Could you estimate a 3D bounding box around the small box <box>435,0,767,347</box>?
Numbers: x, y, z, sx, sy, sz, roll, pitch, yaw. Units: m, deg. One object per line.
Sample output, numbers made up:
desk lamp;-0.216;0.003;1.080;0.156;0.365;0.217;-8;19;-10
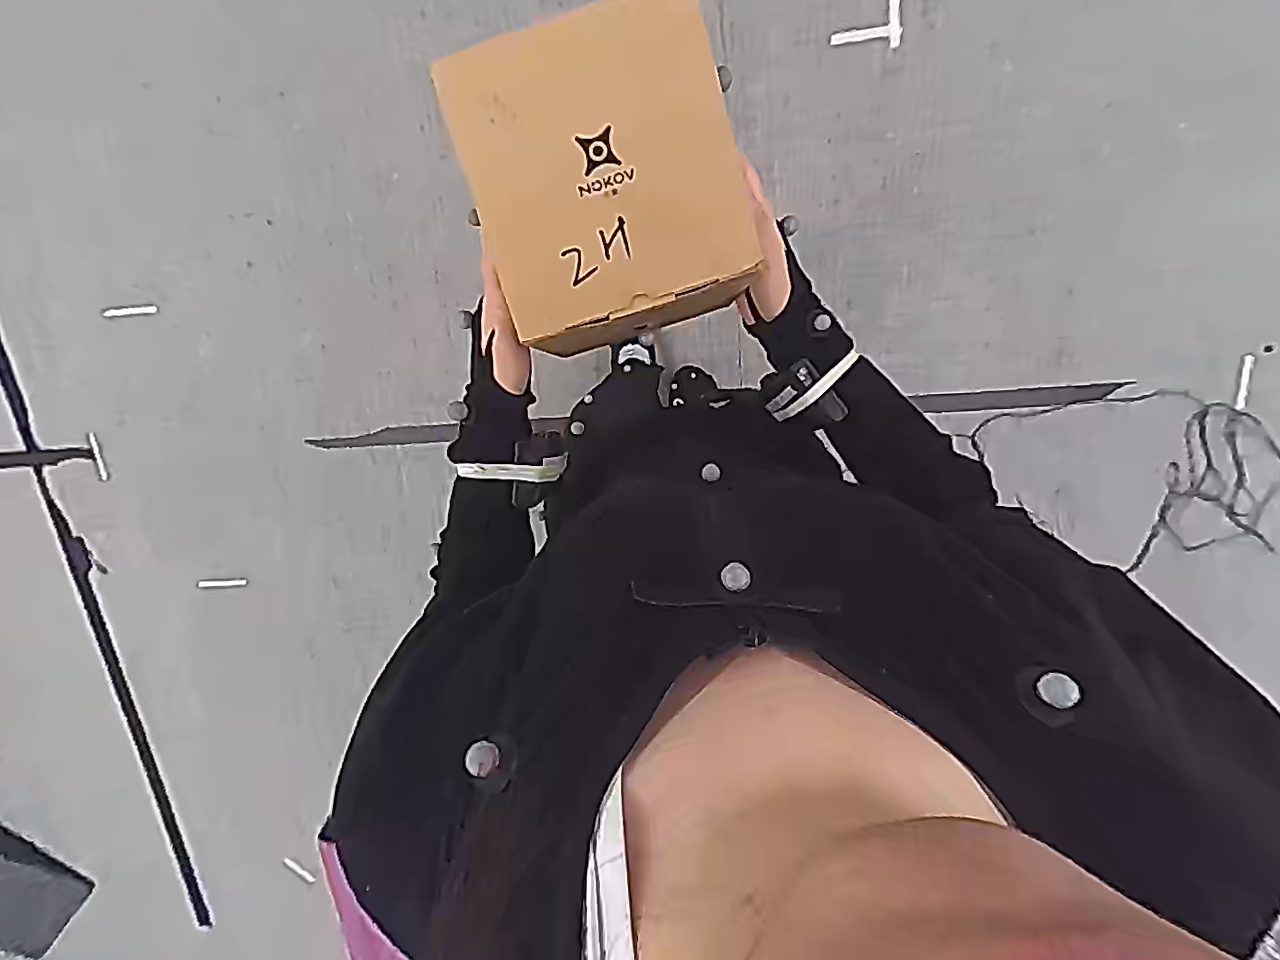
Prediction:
small box;-0.021;-0.211;0.406;0.168;0.176;0.179;-16;99;4
